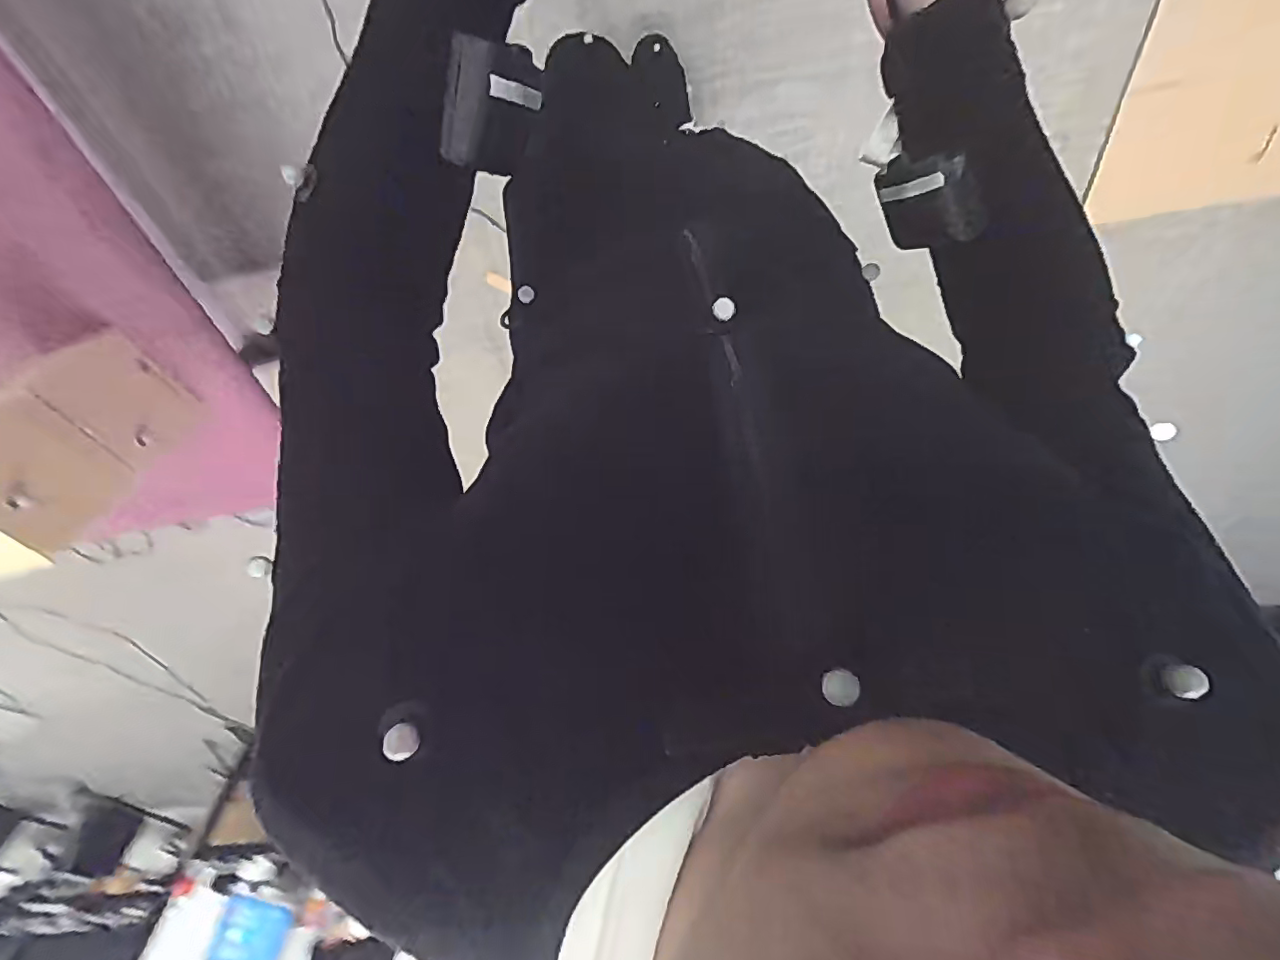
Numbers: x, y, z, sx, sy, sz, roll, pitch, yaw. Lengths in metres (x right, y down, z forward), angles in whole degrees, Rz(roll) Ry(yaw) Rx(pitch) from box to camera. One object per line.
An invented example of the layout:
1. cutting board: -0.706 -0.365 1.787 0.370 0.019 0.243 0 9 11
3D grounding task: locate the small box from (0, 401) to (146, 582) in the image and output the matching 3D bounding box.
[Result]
1. small box: -0.849 0.012 0.728 0.168 0.176 0.179 -13 132 13
